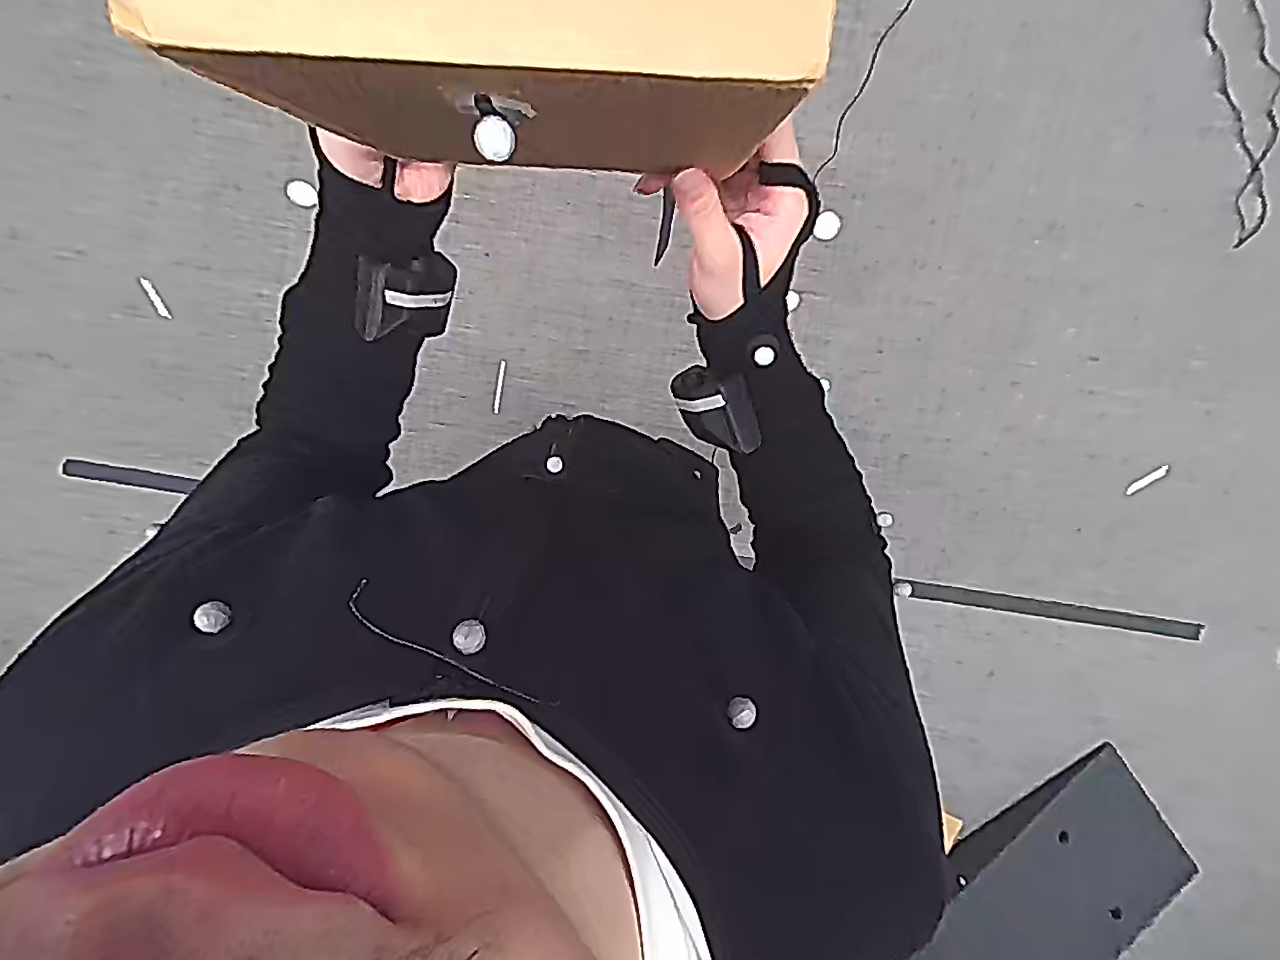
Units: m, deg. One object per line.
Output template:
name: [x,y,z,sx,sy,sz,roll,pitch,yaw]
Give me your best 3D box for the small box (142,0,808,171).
small box: [-0.038,-0.214,0.189,0.179,0.176,0.168,2,113,0]
